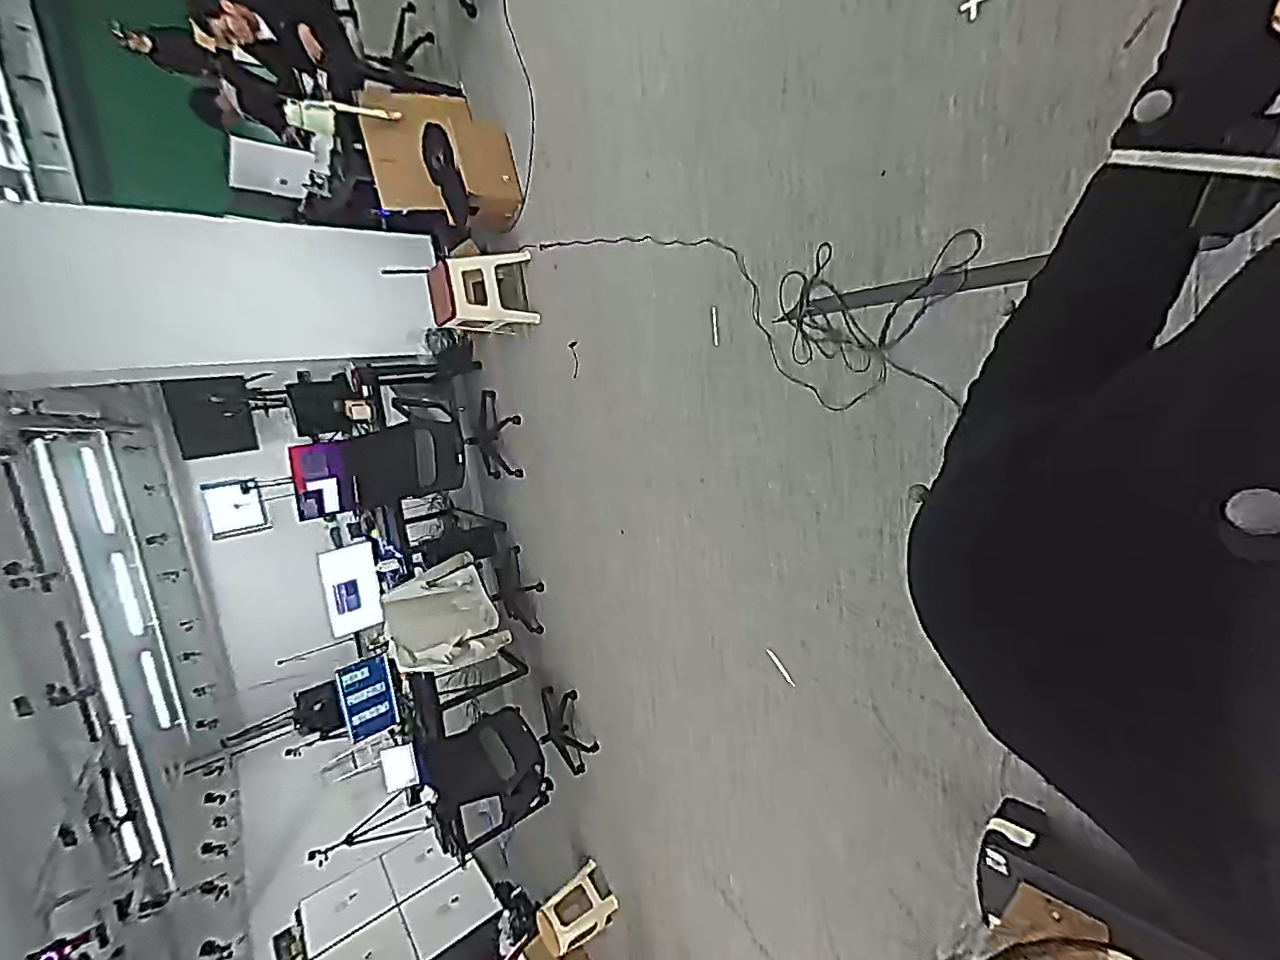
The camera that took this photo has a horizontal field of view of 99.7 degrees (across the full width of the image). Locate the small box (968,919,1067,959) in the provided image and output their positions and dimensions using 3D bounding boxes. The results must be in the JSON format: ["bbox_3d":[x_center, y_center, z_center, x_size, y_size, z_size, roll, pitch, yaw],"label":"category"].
[{"bbox_3d":[0.814,1.108,1.148,0.168,0.176,0.179,3,103,52],"label":"small box"}]

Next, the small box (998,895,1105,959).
[{"bbox_3d":[0.947,1.072,1.238,0.168,0.176,0.179,3,104,52],"label":"small box"}]
